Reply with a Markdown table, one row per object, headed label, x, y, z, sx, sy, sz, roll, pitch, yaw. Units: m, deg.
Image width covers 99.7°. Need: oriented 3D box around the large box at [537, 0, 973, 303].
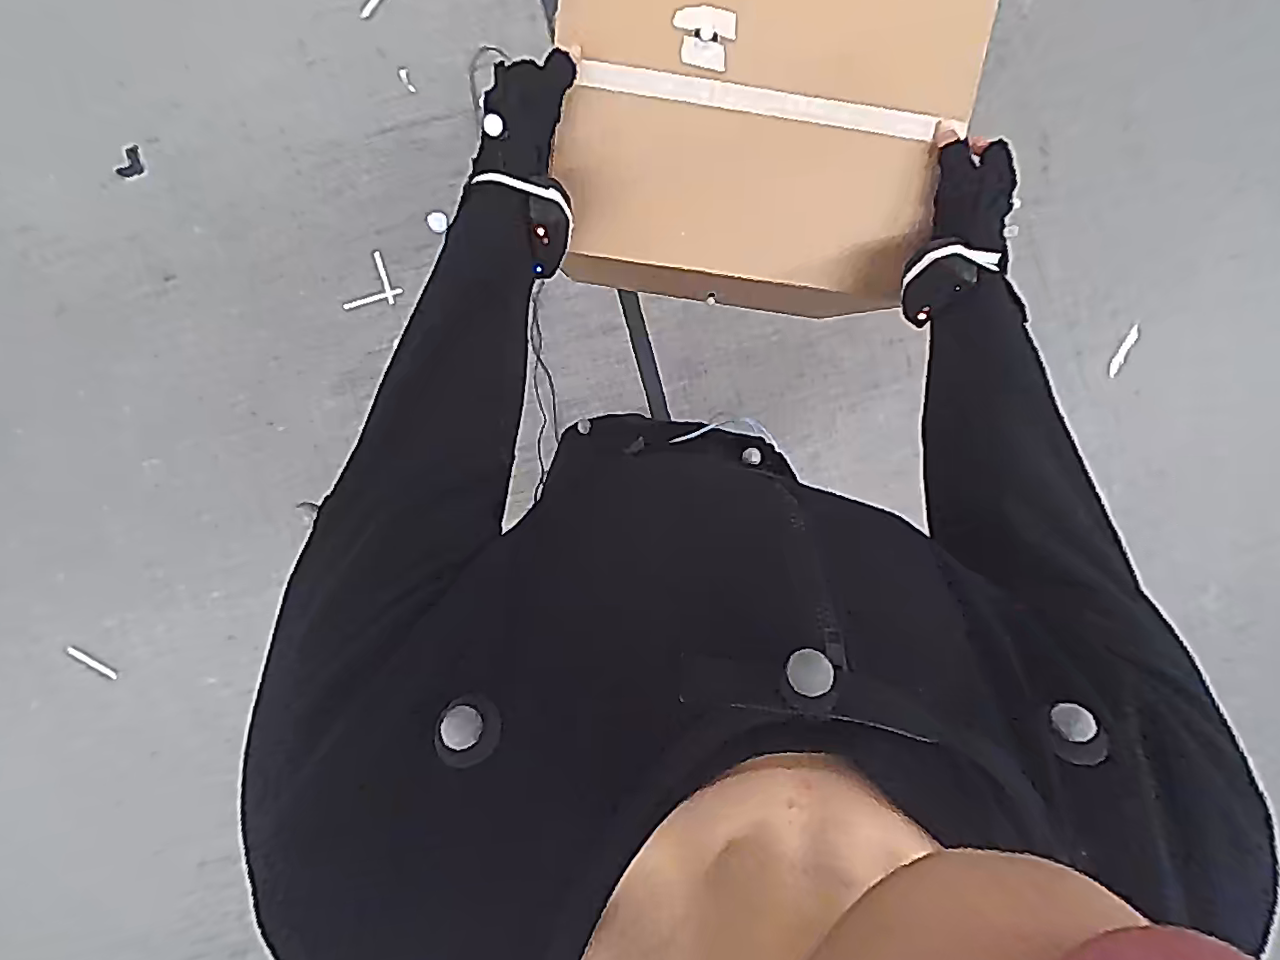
| label | x | y | z | sx | sy | sz | roll | pitch | yaw |
| --- | --- | --- | --- | --- | --- | --- | --- | --- | --- |
| large box | 0.105 | -0.406 | 0.673 | 0.408 | 0.320 | 0.320 | 6 | 103 | -3 |
